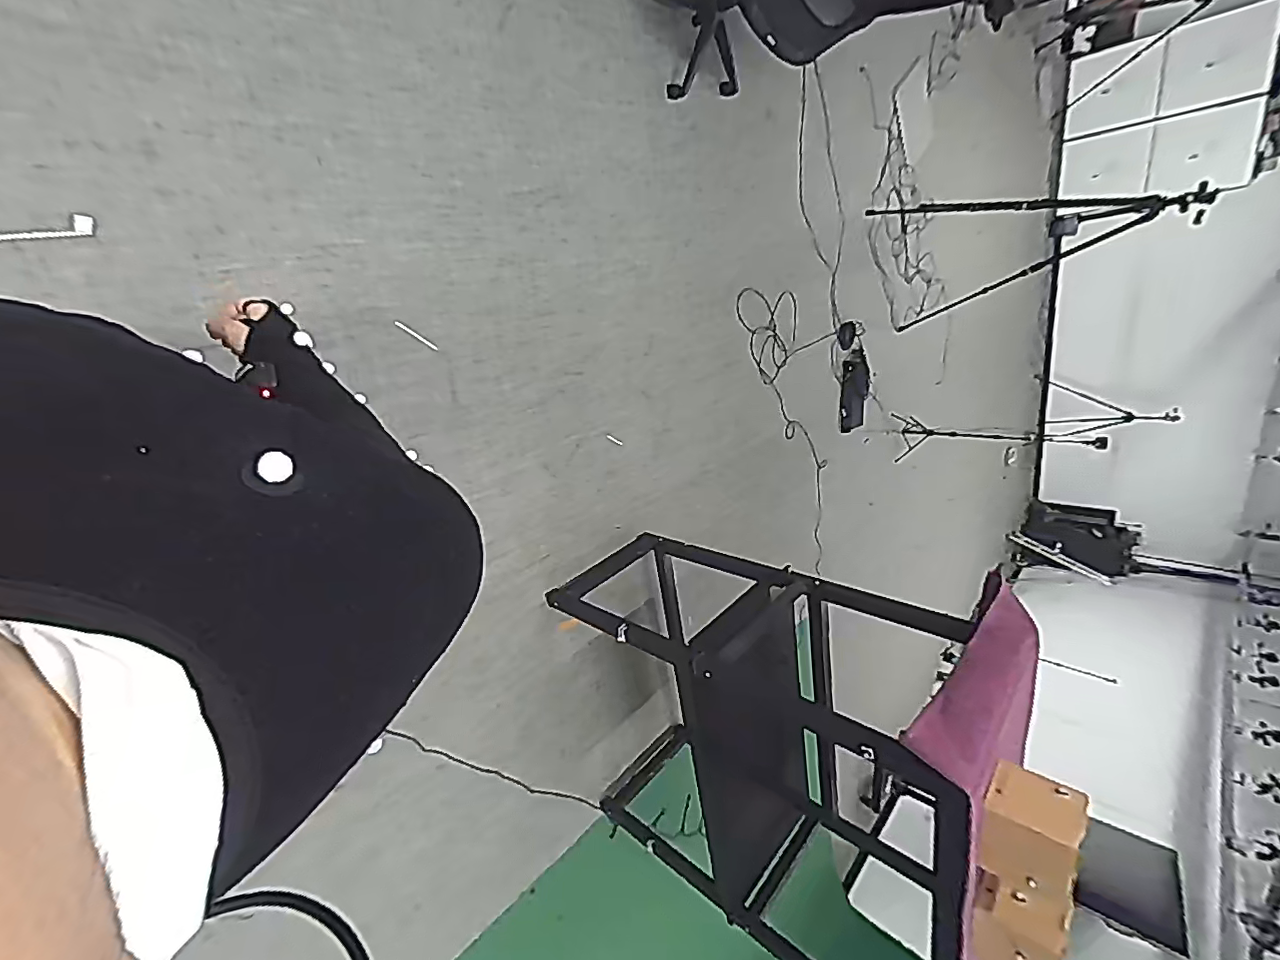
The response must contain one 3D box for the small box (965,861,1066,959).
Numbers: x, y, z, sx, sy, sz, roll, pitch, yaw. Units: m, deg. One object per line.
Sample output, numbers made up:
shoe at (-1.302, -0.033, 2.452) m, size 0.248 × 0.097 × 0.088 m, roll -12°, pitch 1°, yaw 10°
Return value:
small box at (0.890, 1.057, 1.285) m, size 0.168 × 0.176 × 0.179 m, roll -23°, pitch 113°, yaw -41°
